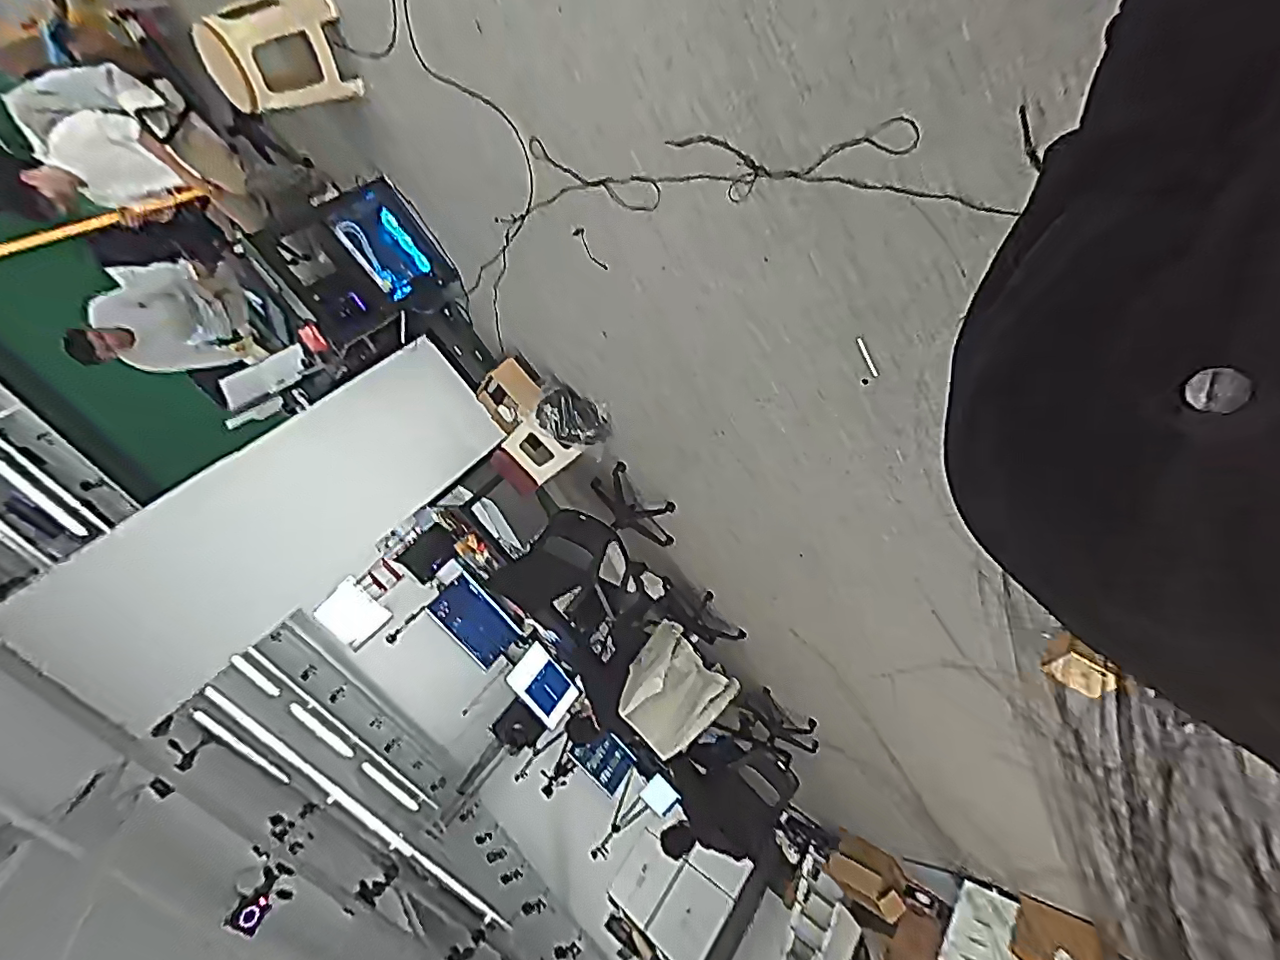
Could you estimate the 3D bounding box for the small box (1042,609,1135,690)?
[{"bbox_3d":[1.515,0.569,1.821,0.168,0.176,0.179,32,150,21],"label":"small box"}]
